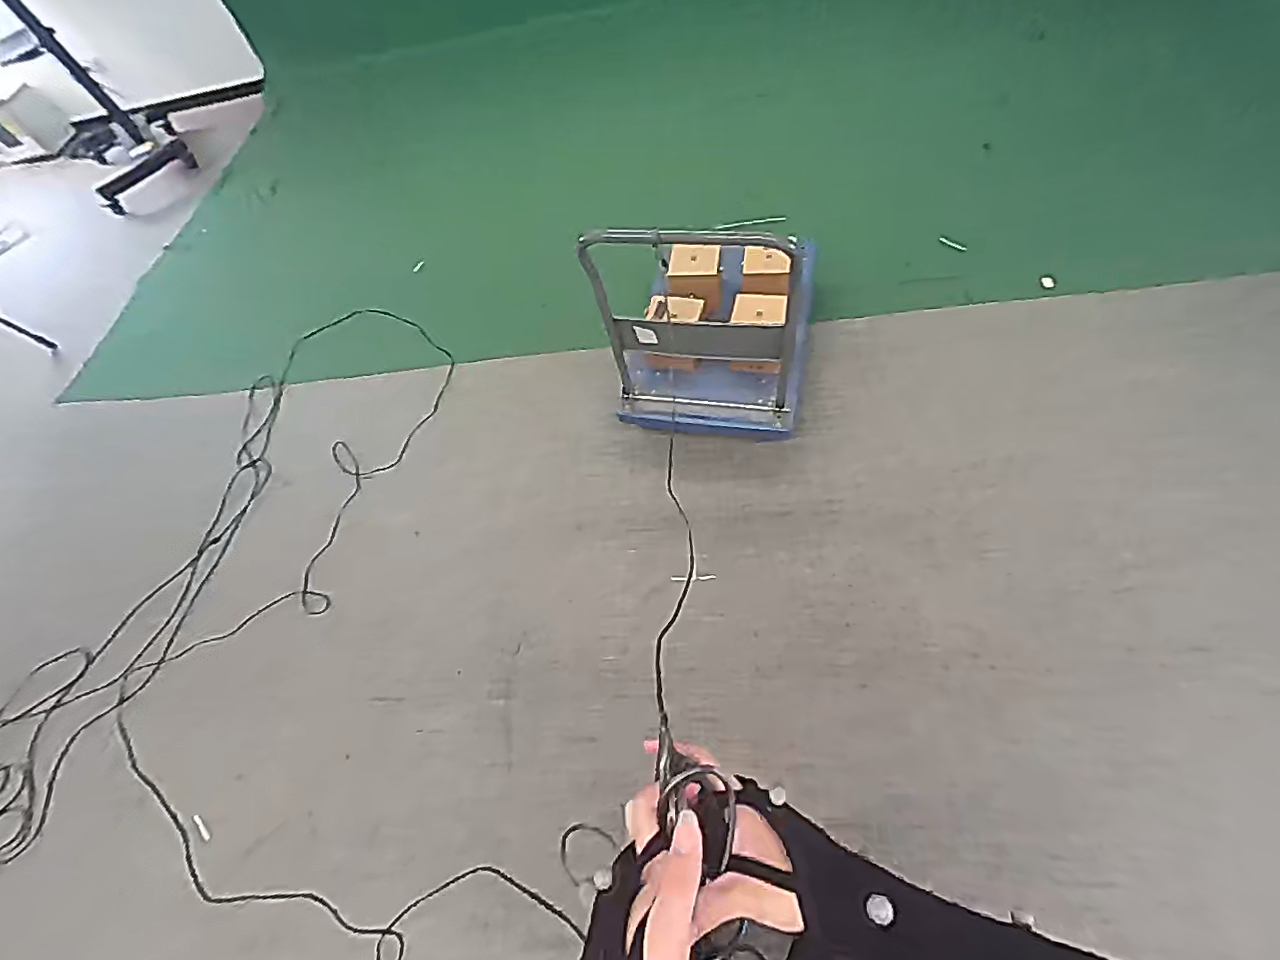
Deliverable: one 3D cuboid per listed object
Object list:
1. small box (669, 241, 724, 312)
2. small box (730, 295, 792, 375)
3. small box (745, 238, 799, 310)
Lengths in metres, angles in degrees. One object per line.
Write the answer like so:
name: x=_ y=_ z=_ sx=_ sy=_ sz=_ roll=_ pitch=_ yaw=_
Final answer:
small box: x=0.207 y=-0.716 z=1.917 sx=0.168 sy=0.176 sz=0.179 roll=5 pitch=62 yaw=13
small box: x=0.388 y=-0.466 z=1.737 sx=0.168 sy=0.176 sz=0.179 roll=8 pitch=63 yaw=16
small box: x=0.451 y=-0.701 z=1.856 sx=0.168 sy=0.176 sz=0.179 roll=4 pitch=62 yaw=15
